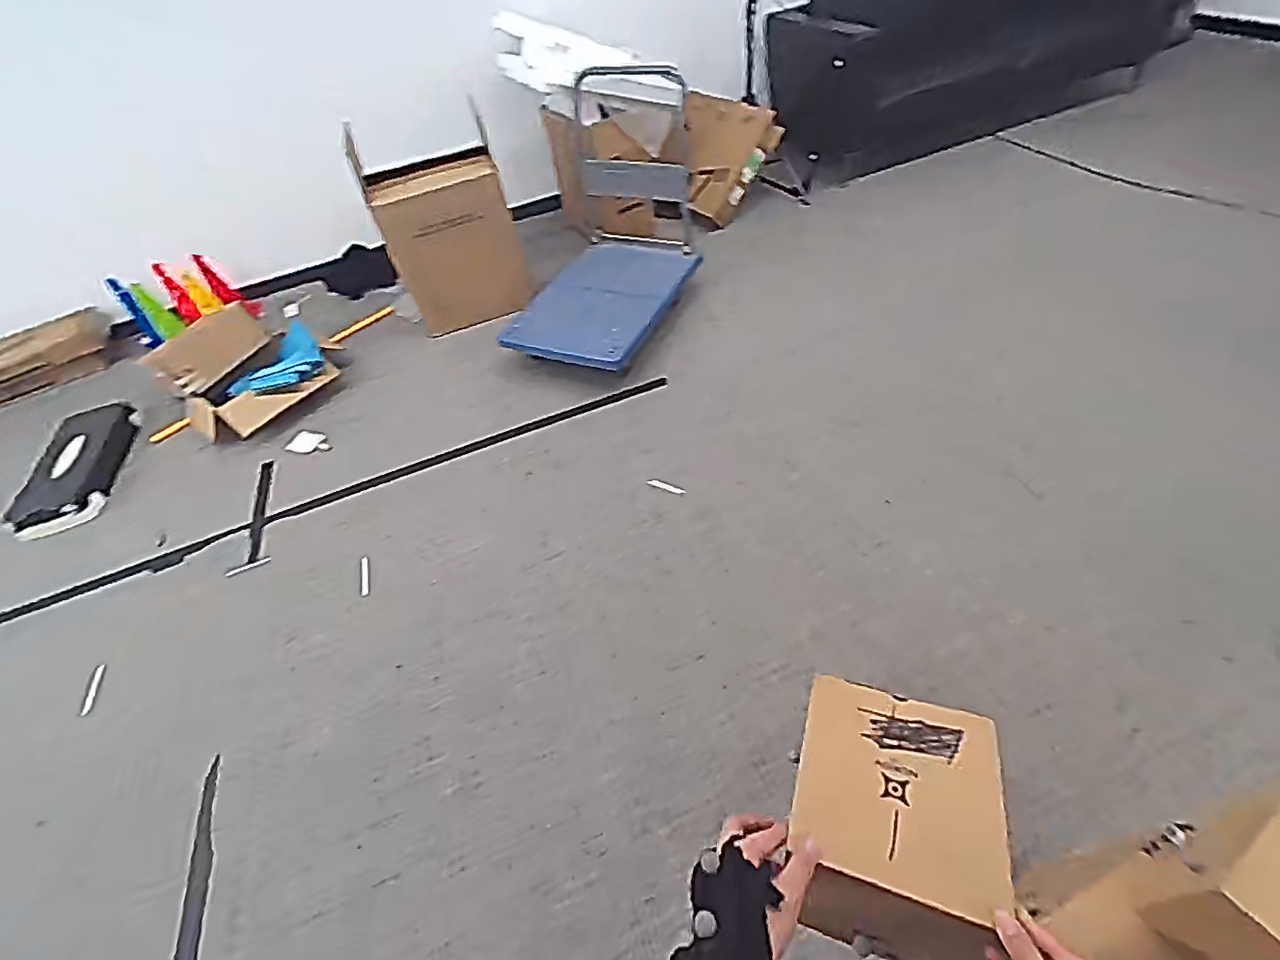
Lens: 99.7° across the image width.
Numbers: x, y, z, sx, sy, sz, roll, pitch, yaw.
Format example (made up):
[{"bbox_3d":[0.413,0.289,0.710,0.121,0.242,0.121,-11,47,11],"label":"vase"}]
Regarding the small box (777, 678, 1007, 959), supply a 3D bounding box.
[{"bbox_3d":[0.231,0.335,0.526,0.168,0.176,0.179,9,40,22],"label":"small box"}]
